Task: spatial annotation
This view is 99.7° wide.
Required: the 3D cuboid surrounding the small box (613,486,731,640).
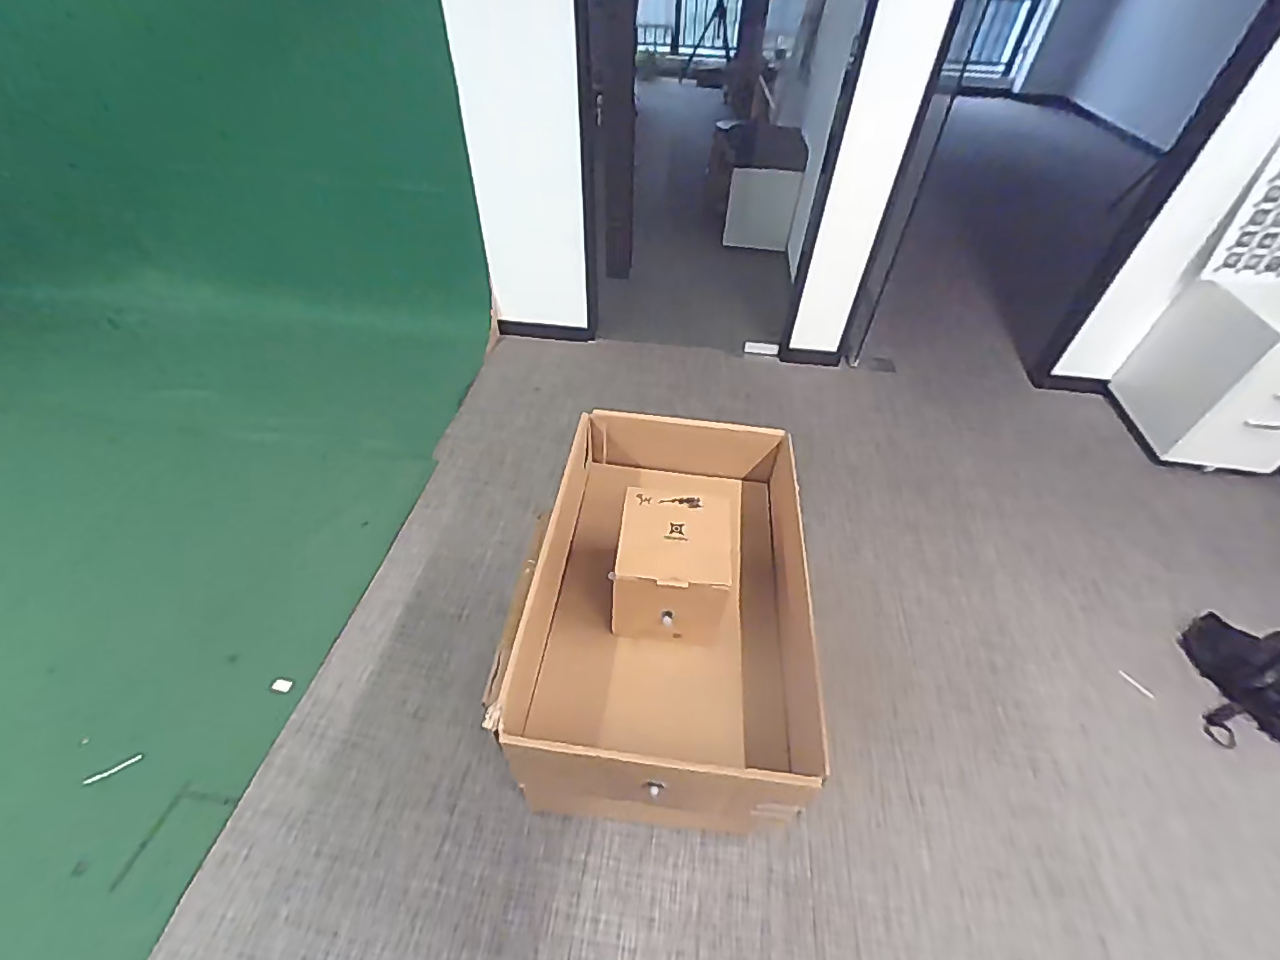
[{"bbox_3d":[0.050,0.136,0.862,0.168,0.176,0.179,6,46,2],"label":"small box"}]
